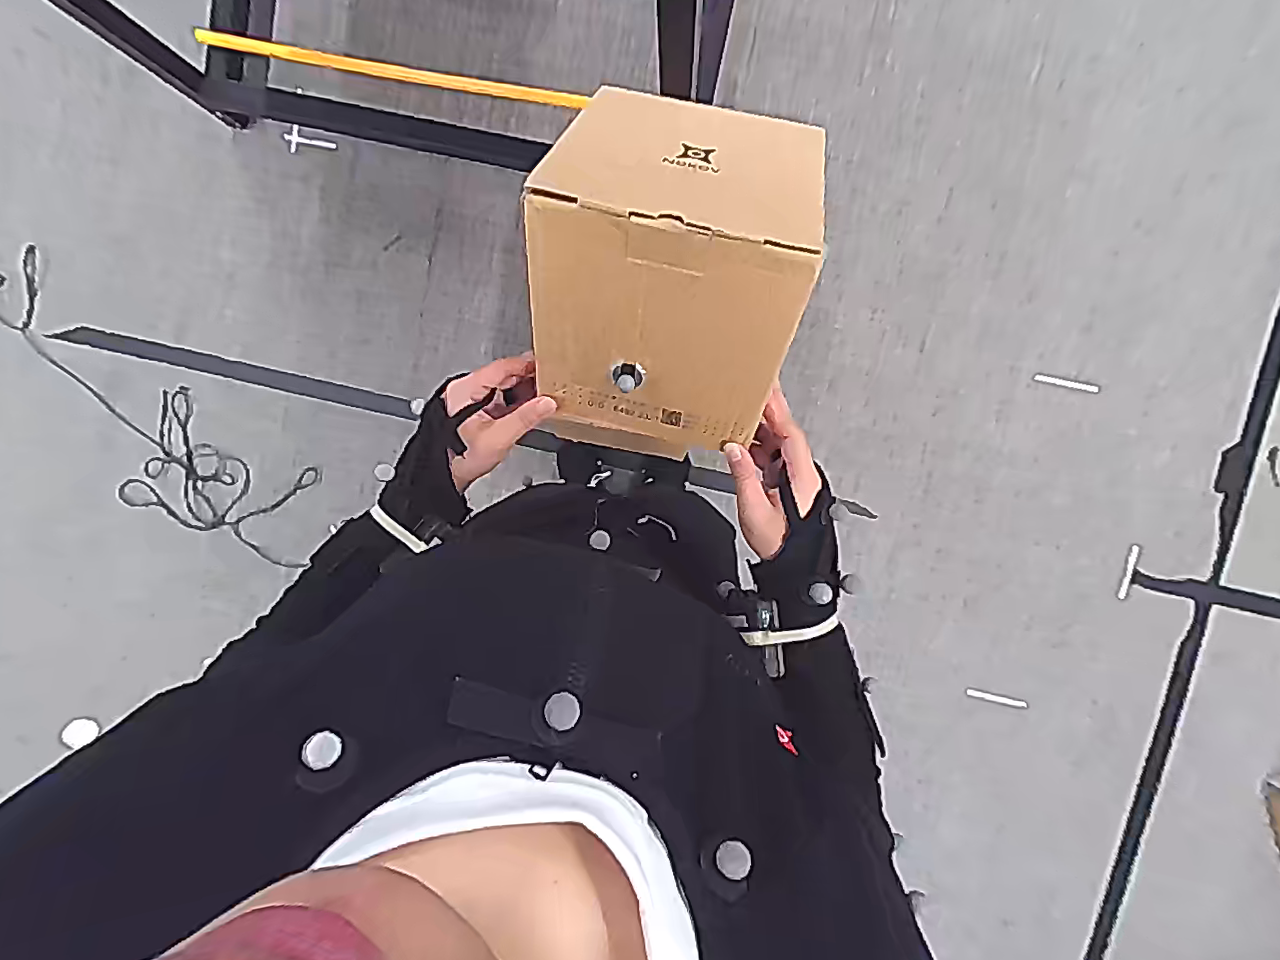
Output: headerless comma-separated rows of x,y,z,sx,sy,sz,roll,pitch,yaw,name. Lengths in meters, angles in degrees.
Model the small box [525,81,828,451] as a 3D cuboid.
0.026,-0.151,0.396,0.168,0.176,0.179,13,54,3,small box
